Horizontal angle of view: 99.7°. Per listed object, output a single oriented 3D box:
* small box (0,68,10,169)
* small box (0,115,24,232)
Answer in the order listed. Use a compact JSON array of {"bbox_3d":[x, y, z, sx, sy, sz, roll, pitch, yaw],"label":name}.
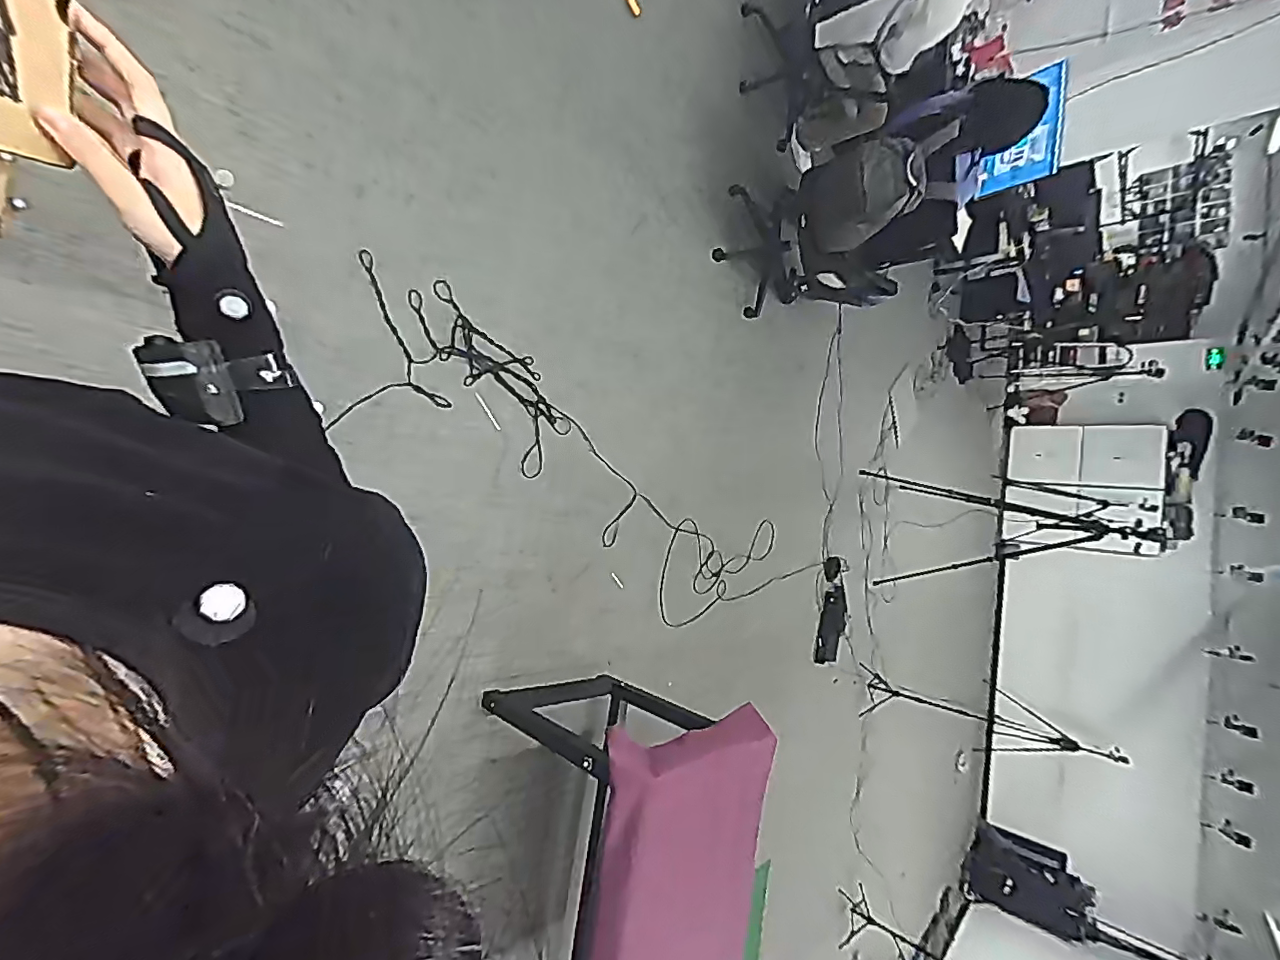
[{"bbox_3d":[-1.031,-0.520,0.753,0.179,0.176,0.168,11,86,-47],"label":"small box"},{"bbox_3d":[-1.143,-0.527,0.873,0.179,0.176,0.168,10,85,-47],"label":"small box"}]
